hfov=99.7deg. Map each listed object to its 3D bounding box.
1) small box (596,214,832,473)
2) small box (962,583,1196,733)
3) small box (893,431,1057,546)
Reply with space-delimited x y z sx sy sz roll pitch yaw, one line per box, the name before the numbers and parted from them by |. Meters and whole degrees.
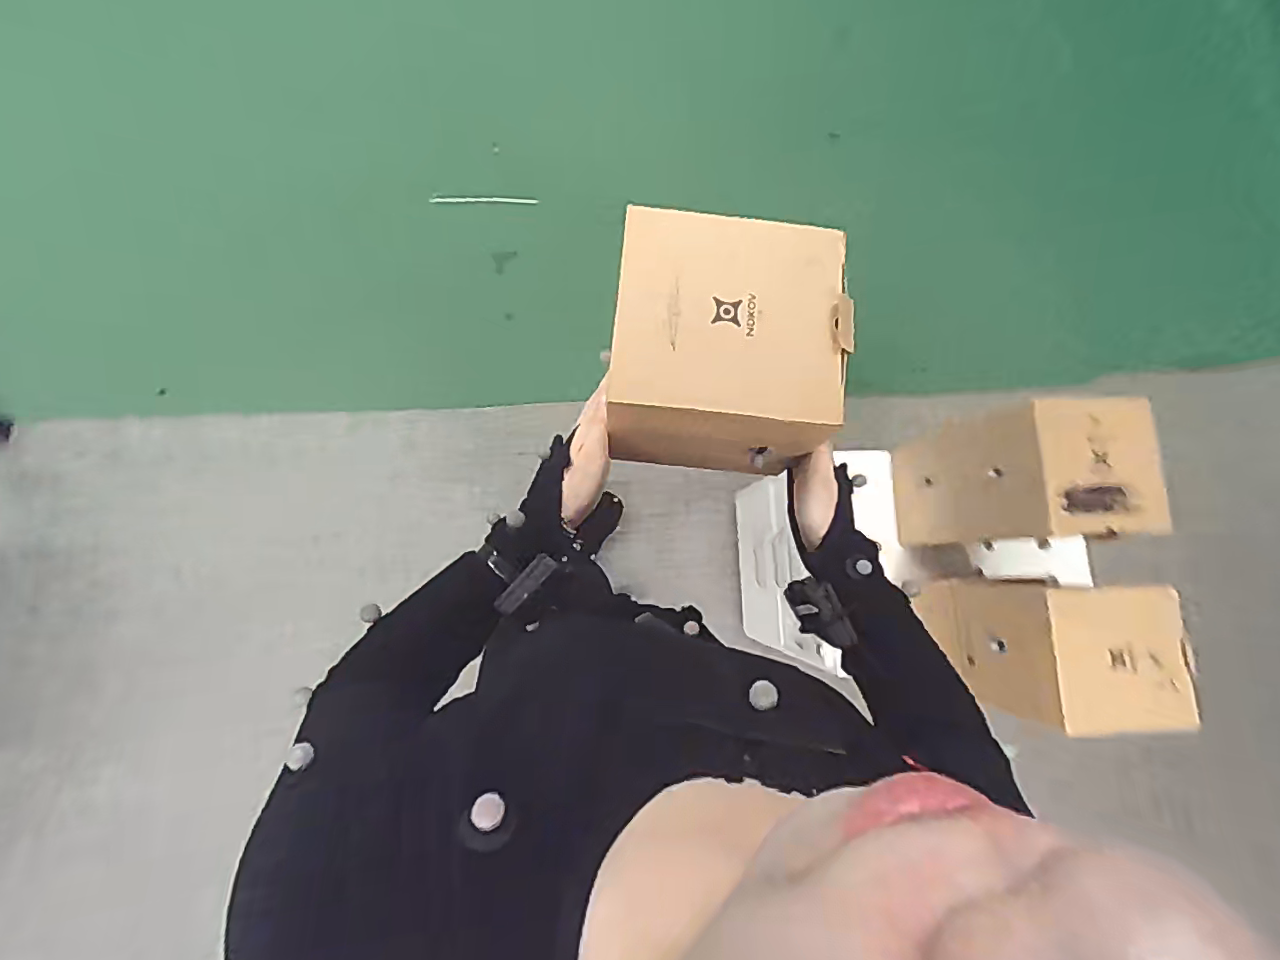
small box | 0.056 -0.107 0.488 0.179 0.176 0.168 4 77 -1
small box | 0.557 0.224 0.717 0.179 0.176 0.168 1 81 -6
small box | 0.553 0.020 0.917 0.168 0.176 0.179 -1 83 -6
